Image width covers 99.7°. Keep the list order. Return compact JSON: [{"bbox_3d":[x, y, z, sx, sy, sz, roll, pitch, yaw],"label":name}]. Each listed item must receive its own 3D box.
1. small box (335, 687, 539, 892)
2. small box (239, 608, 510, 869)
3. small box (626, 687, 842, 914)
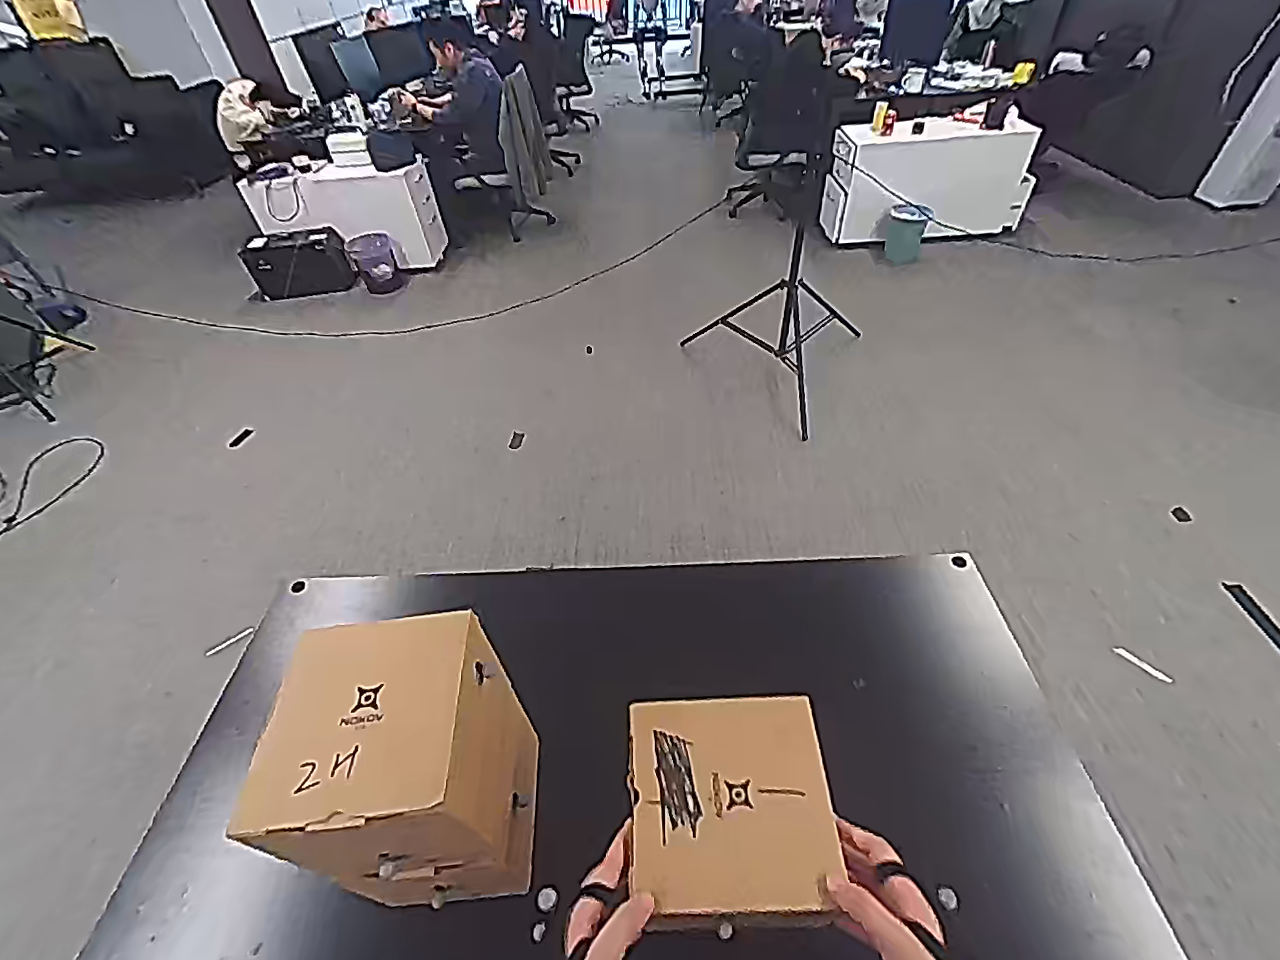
[{"bbox_3d":[-0.220,0.373,0.644,0.168,0.176,0.179,-6,45,0],"label":"small box"},{"bbox_3d":[-0.231,0.252,0.530,0.168,0.176,0.179,-7,45,-1],"label":"small box"},{"bbox_3d":[0.083,0.325,0.544,0.179,0.176,0.168,-4,47,3],"label":"small box"}]
